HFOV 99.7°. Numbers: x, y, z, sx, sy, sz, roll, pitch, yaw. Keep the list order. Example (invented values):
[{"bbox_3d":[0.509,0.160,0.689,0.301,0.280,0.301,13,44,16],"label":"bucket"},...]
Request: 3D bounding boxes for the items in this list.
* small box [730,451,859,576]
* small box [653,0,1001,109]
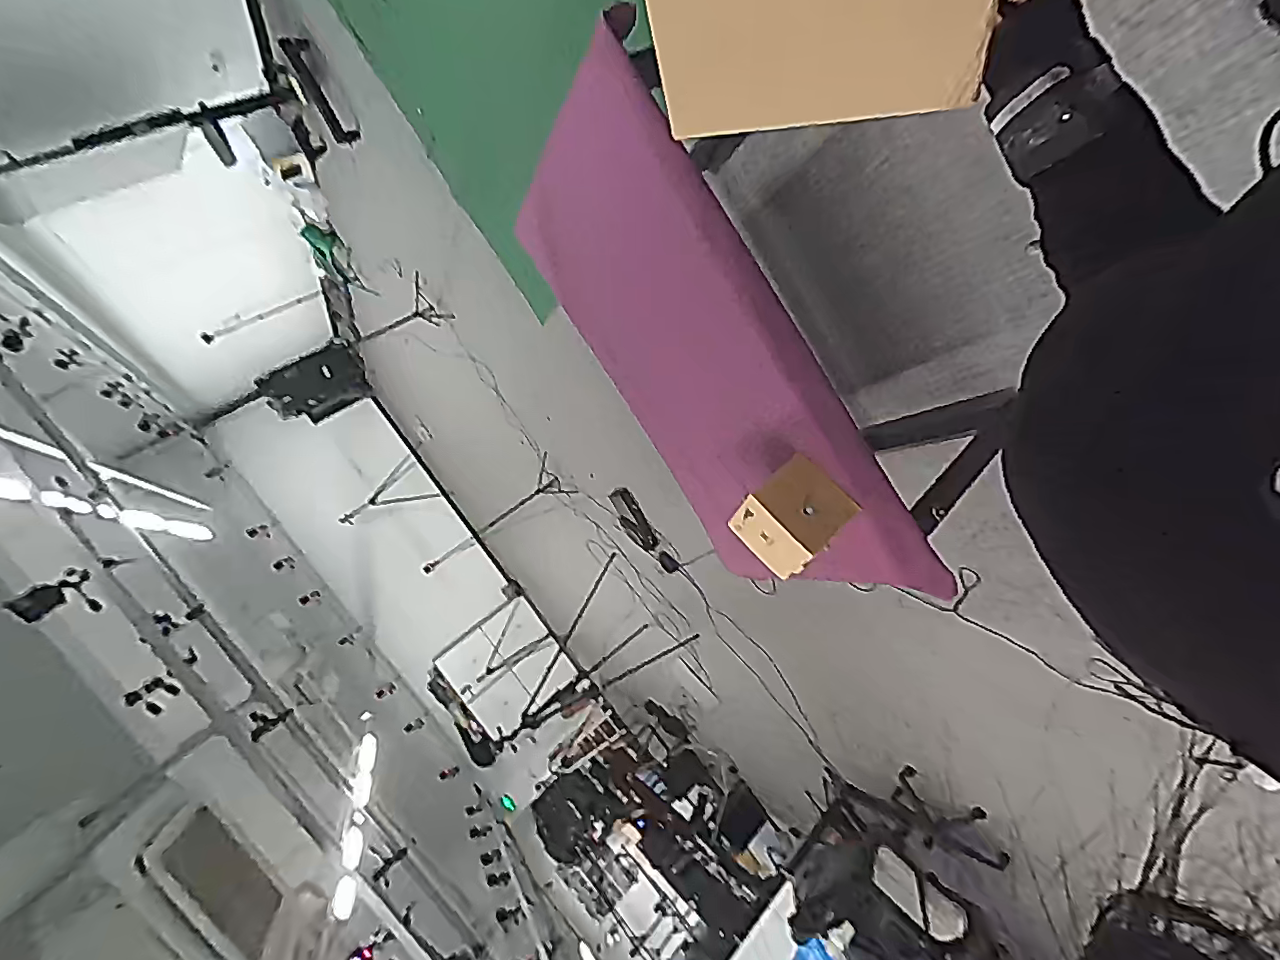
[{"bbox_3d":[0.332,0.072,1.166,0.179,0.176,0.168,45,154,14],"label":"small box"},{"bbox_3d":[0.102,-0.322,0.263,0.168,0.179,0.176,10,150,25],"label":"small box"}]
